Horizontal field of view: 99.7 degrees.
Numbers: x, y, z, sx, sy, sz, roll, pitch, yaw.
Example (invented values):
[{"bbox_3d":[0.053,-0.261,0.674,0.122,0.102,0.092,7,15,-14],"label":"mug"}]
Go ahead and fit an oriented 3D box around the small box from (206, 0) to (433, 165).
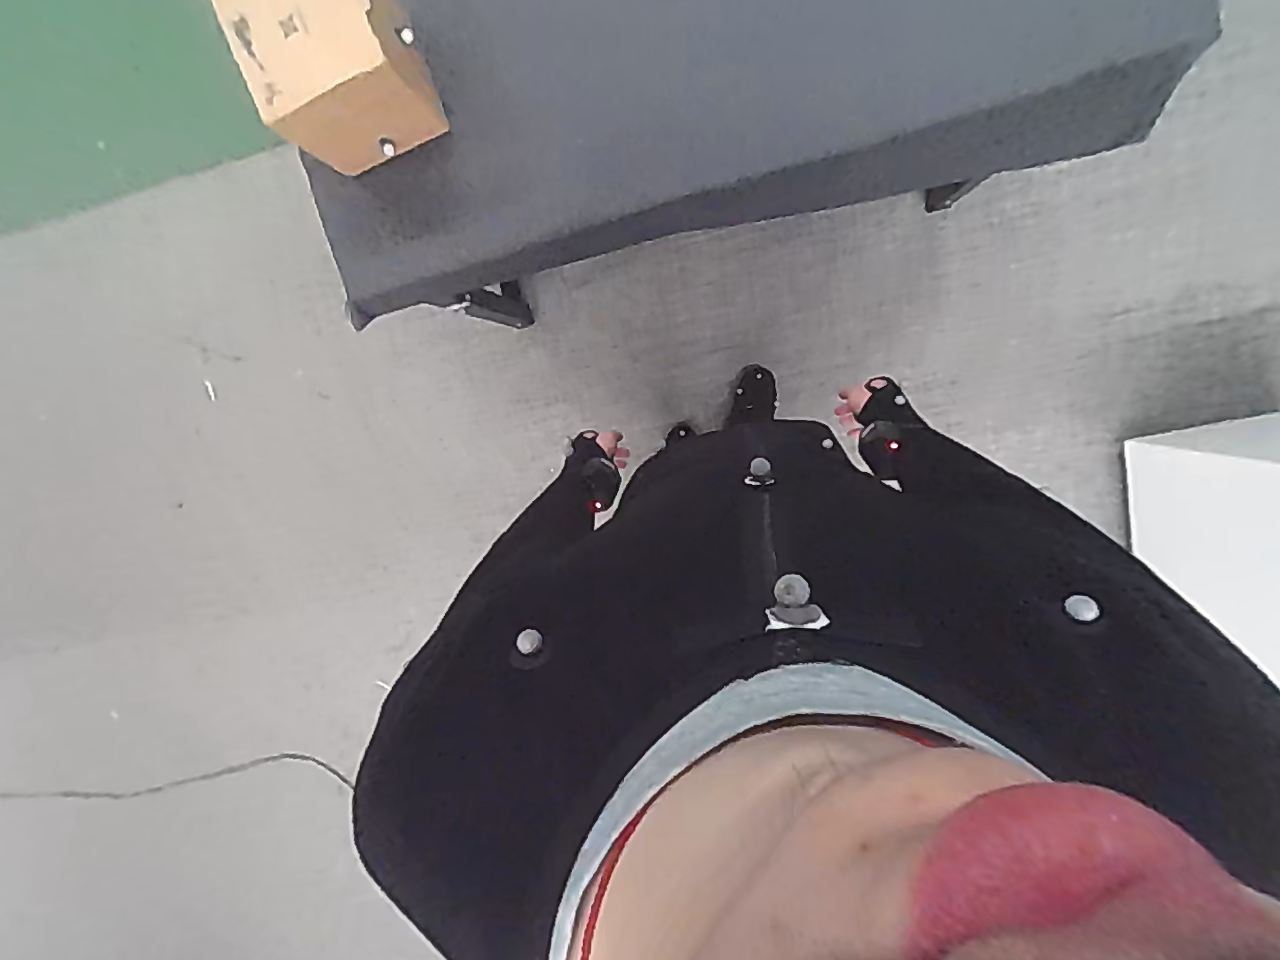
[{"bbox_3d":[-0.391,-0.543,0.689,0.179,0.176,0.168,-20,98,8],"label":"small box"}]
